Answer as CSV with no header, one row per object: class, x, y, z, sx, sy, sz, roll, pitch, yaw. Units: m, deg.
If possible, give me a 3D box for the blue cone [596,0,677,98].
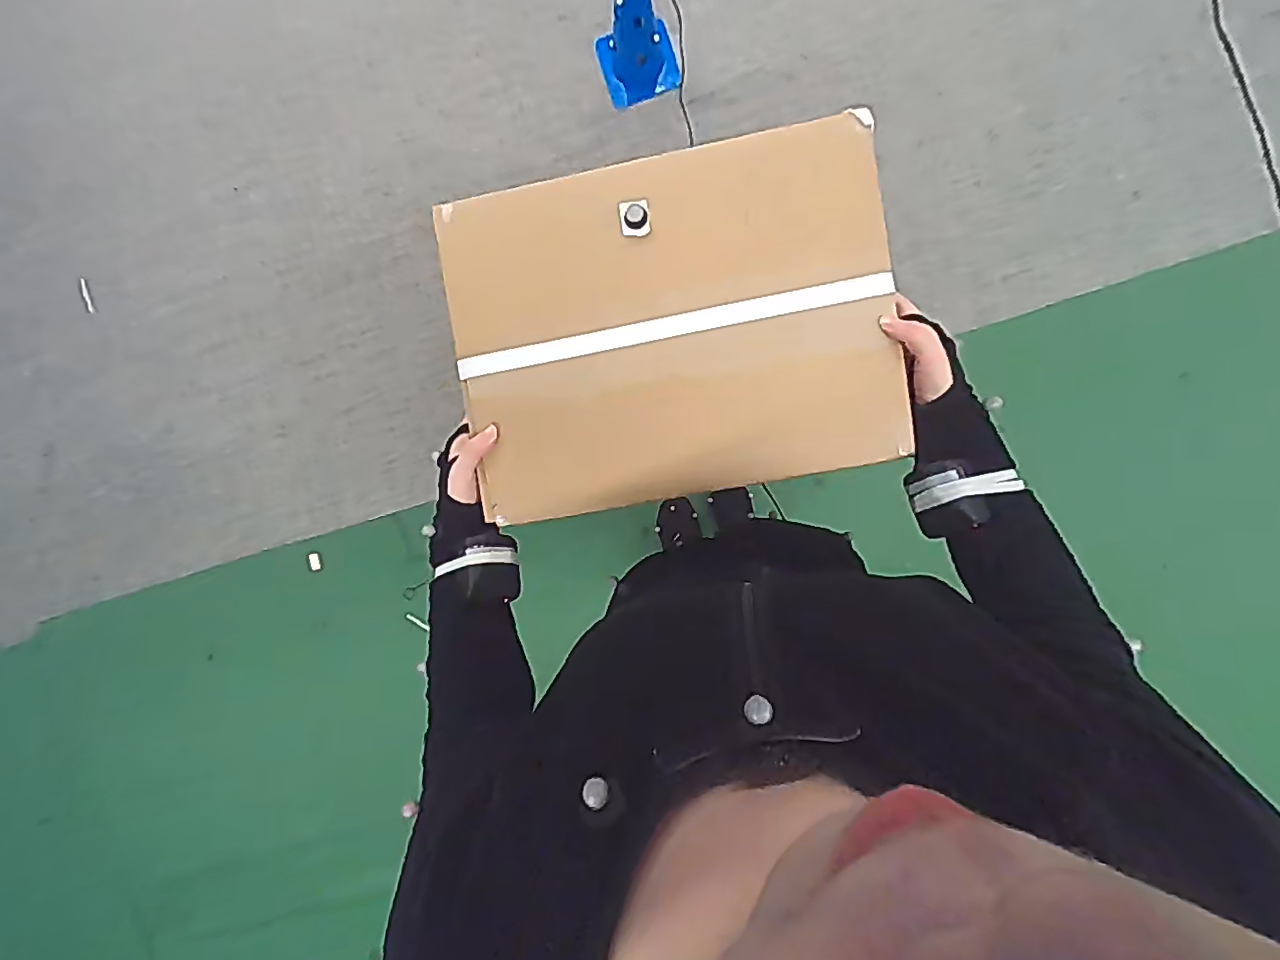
blue cone,-0.022,-1.136,1.293,0.193,0.380,0.192,-20,90,5
